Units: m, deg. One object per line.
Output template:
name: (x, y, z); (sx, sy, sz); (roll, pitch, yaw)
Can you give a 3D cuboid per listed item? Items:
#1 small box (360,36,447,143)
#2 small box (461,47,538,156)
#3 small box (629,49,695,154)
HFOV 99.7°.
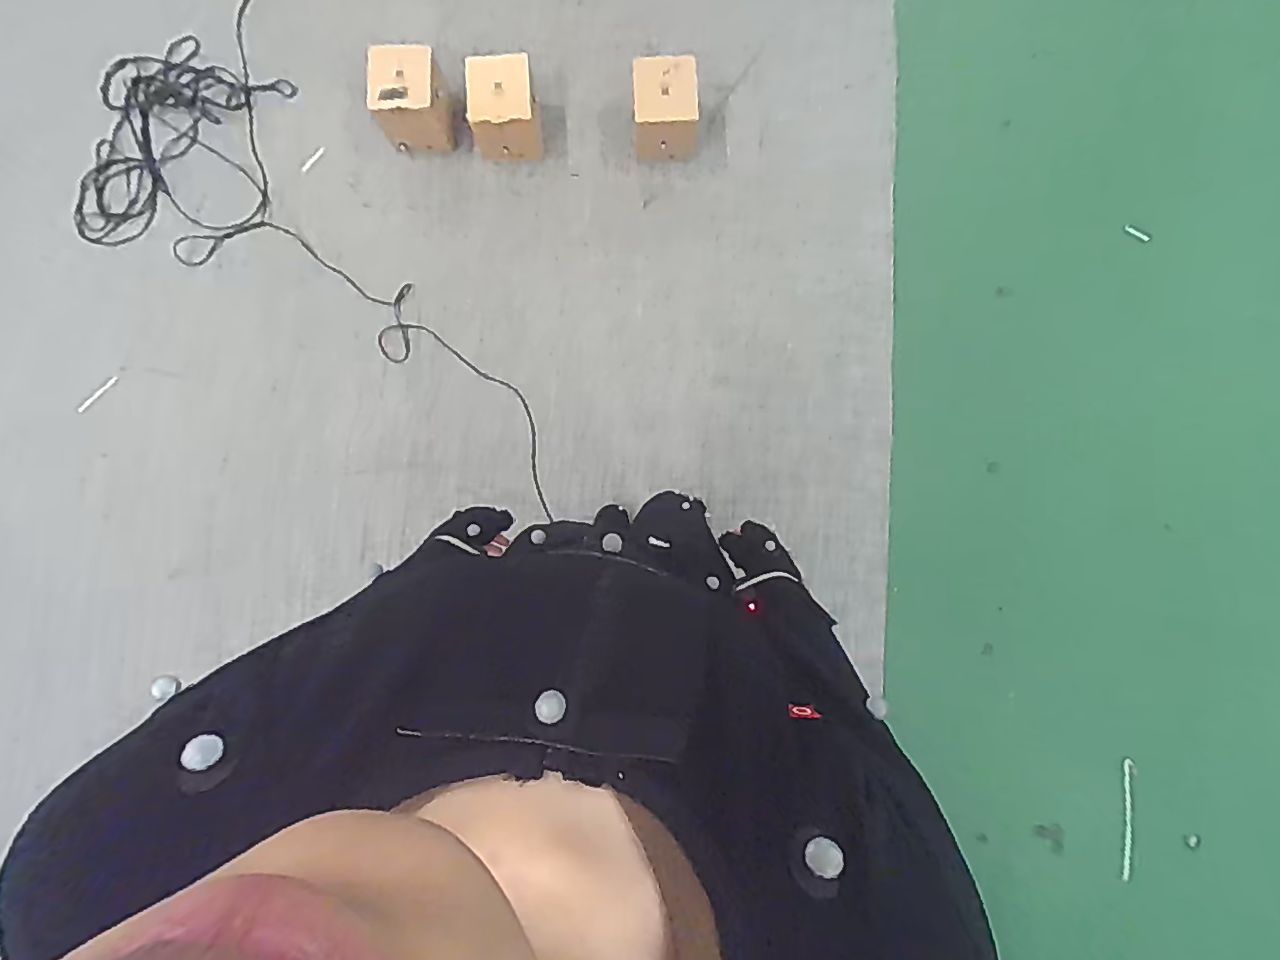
small box: (-0.626, -1.037, 1.450); (0.168, 0.176, 0.179); (-1, 87, -1)
small box: (-0.372, -1.010, 1.452); (0.168, 0.176, 0.179); (-4, 89, 0)
small box: (0.055, -1.007, 1.455); (0.168, 0.176, 0.179); (-3, 88, -2)
